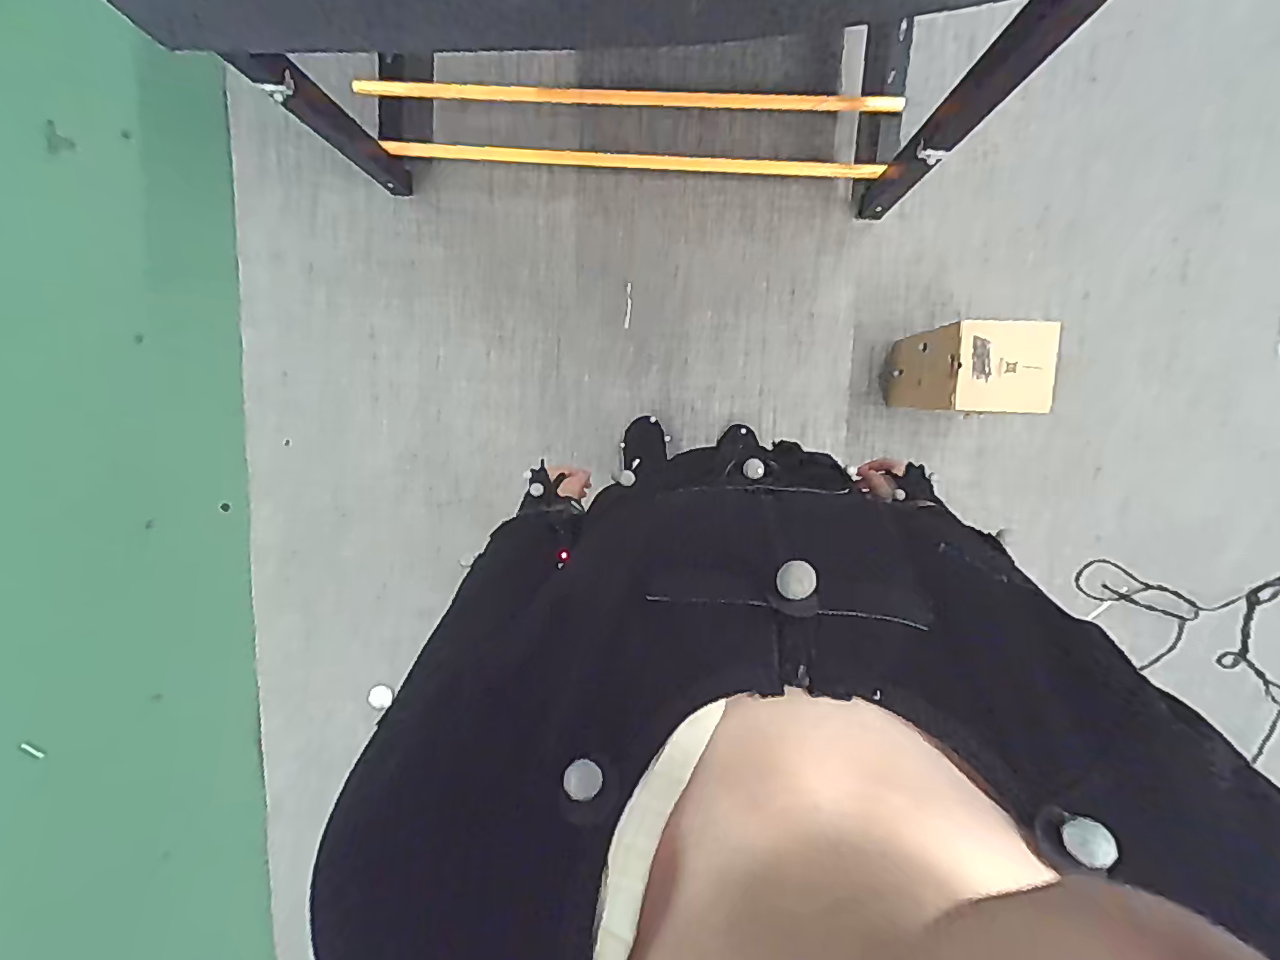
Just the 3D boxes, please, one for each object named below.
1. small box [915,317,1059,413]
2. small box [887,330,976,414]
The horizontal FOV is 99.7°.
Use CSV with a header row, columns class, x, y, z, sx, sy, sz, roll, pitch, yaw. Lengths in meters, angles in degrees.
class,x,y,z,sx,sy,sz,roll,pitch,yaw
small box,0.665,-0.218,1.059,0.179,0.176,0.168,2,96,2
small box,0.687,-0.238,1.221,0.179,0.176,0.168,4,96,3
